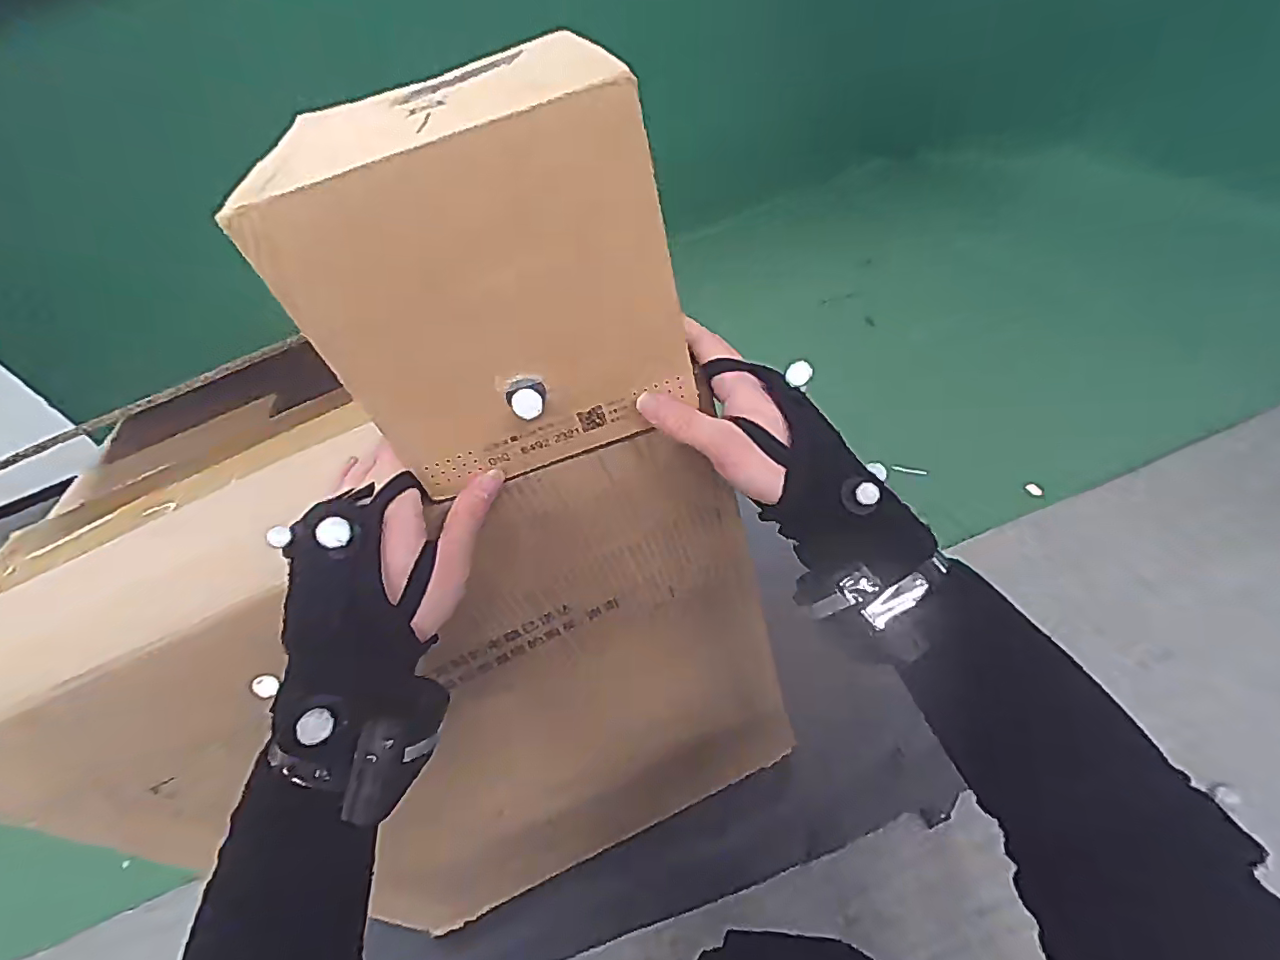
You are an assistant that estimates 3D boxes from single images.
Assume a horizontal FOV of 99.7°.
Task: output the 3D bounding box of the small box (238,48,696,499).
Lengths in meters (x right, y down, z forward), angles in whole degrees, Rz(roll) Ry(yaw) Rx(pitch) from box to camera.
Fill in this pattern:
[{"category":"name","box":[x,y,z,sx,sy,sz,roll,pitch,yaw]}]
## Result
[{"category":"small box","box":[-0.077,-0.120,0.320,0.168,0.176,0.179,-20,46,0]}]
